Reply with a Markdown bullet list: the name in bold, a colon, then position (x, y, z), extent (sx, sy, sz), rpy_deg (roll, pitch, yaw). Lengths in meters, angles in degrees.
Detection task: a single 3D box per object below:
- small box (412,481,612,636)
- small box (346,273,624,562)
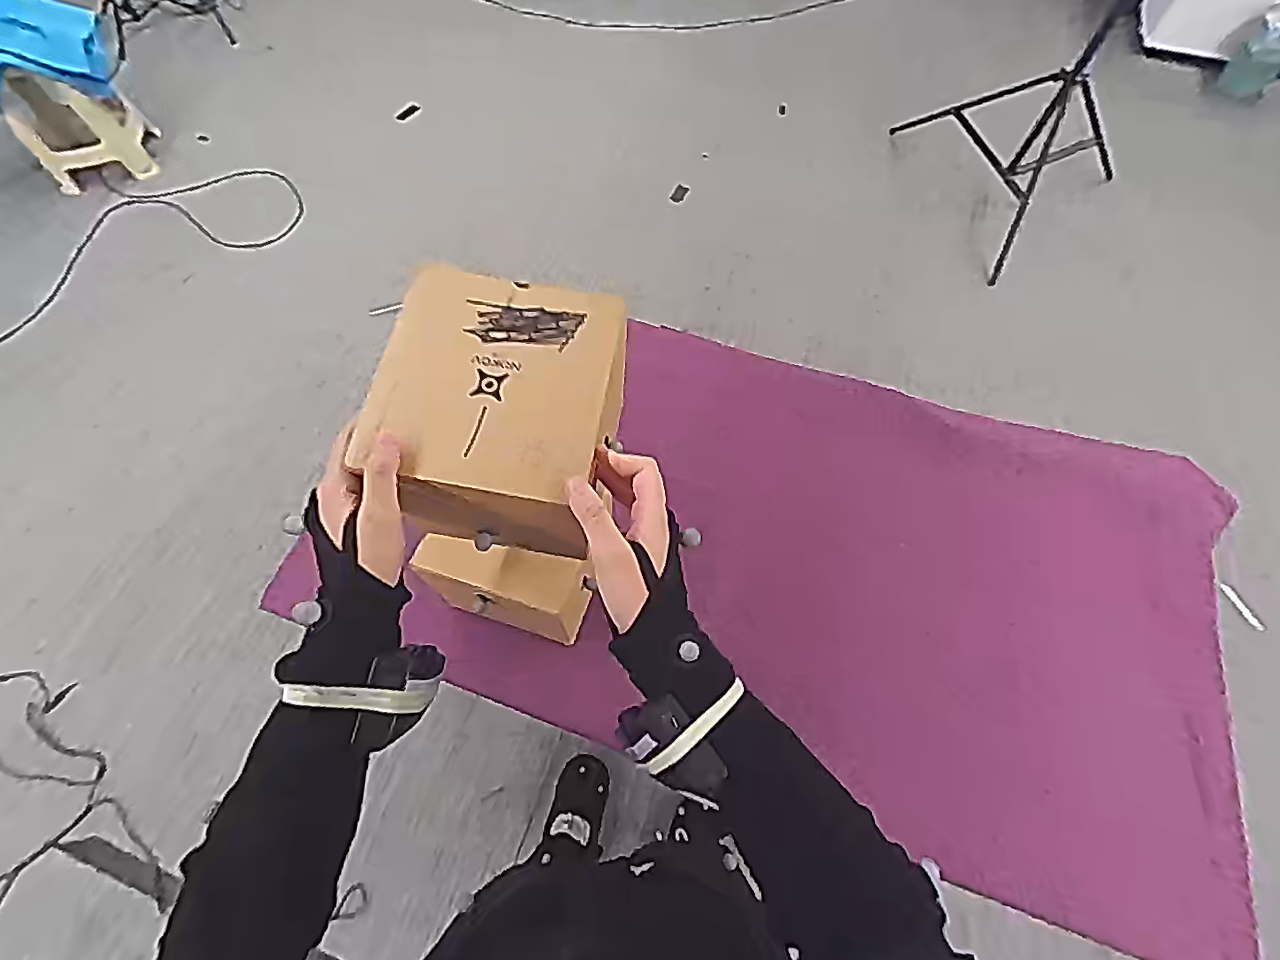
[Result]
- **small box**: position (-0.140, 0.083, 0.672), extent (0.179, 0.176, 0.168), rpy_deg (16, 64, 8)
- **small box**: position (-0.113, -0.042, 0.473), extent (0.168, 0.176, 0.179), rpy_deg (11, 69, 1)
